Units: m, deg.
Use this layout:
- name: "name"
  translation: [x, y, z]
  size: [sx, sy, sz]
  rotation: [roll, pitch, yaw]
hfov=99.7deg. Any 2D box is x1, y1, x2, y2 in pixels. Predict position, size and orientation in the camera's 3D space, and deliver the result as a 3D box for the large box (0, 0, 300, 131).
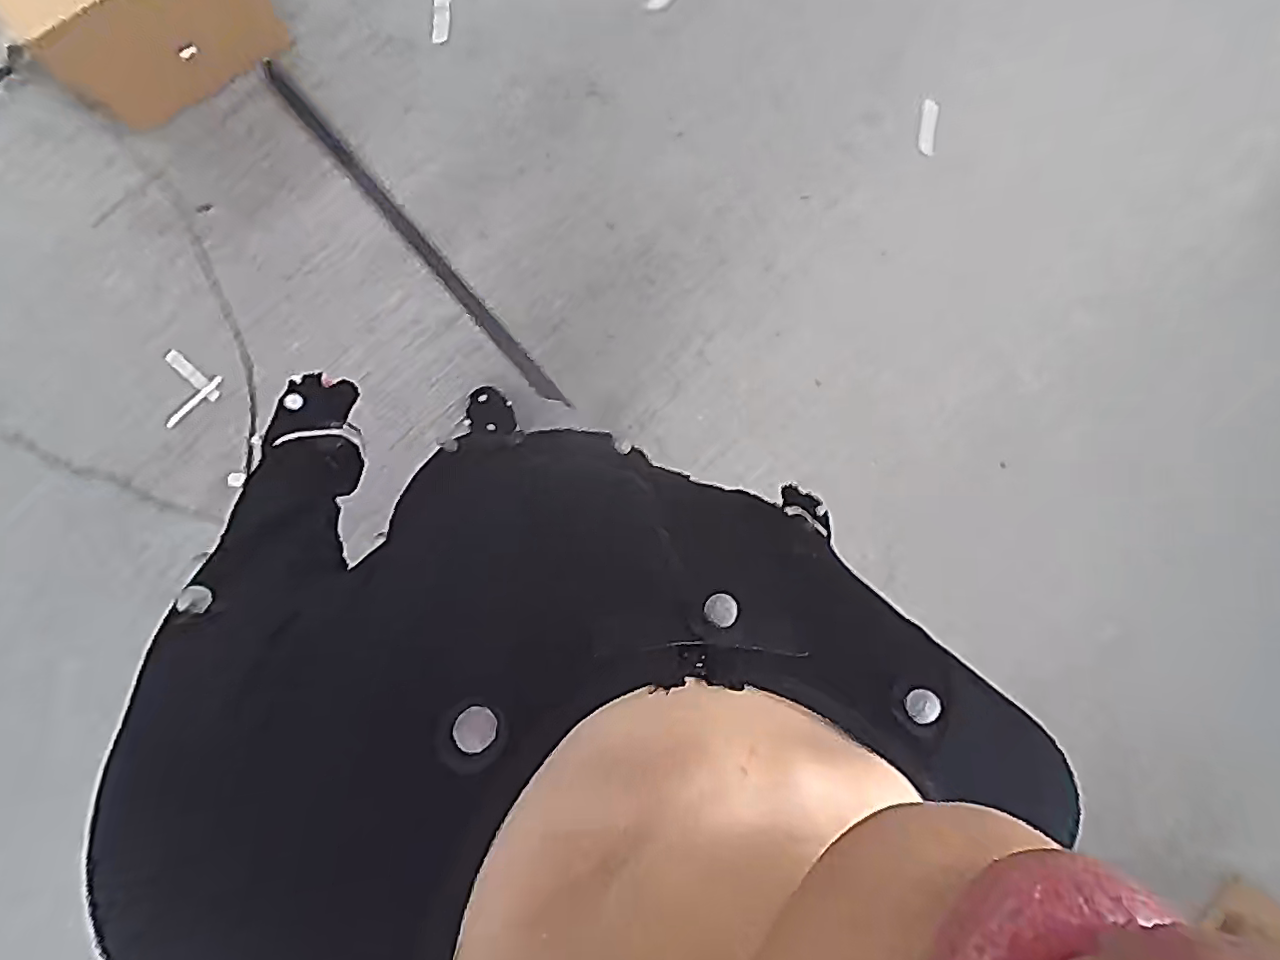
- name: "large box"
  translation: [-0.978, -0.986, 1.039]
  size: [0.408, 0.320, 0.320]
  rotation: [-37, 102, -4]
